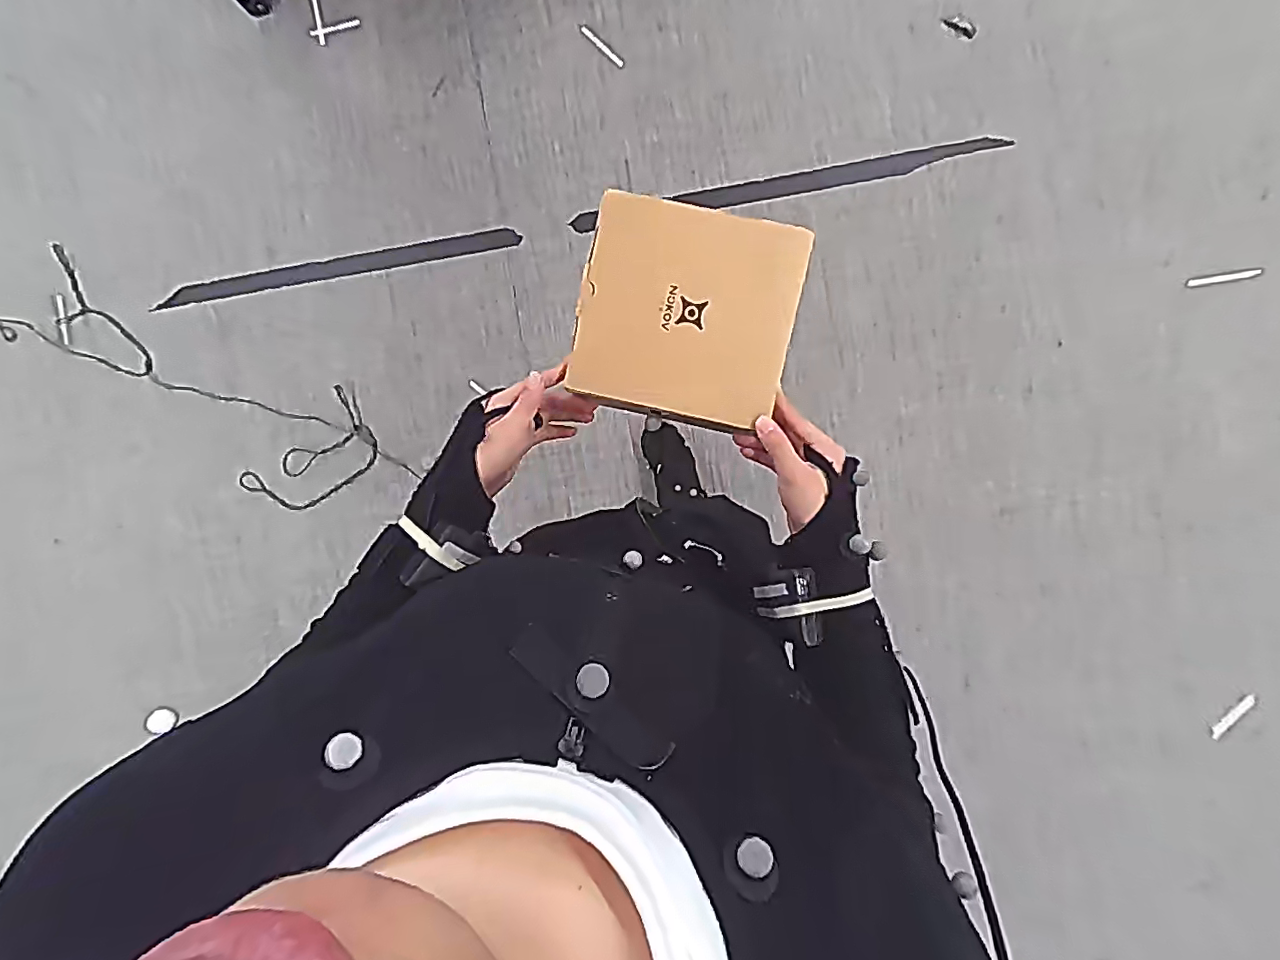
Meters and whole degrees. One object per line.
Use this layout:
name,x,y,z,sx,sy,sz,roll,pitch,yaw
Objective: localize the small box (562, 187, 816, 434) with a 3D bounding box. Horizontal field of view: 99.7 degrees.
small box,0.042,-0.143,0.513,0.179,0.176,0.168,13,95,3
